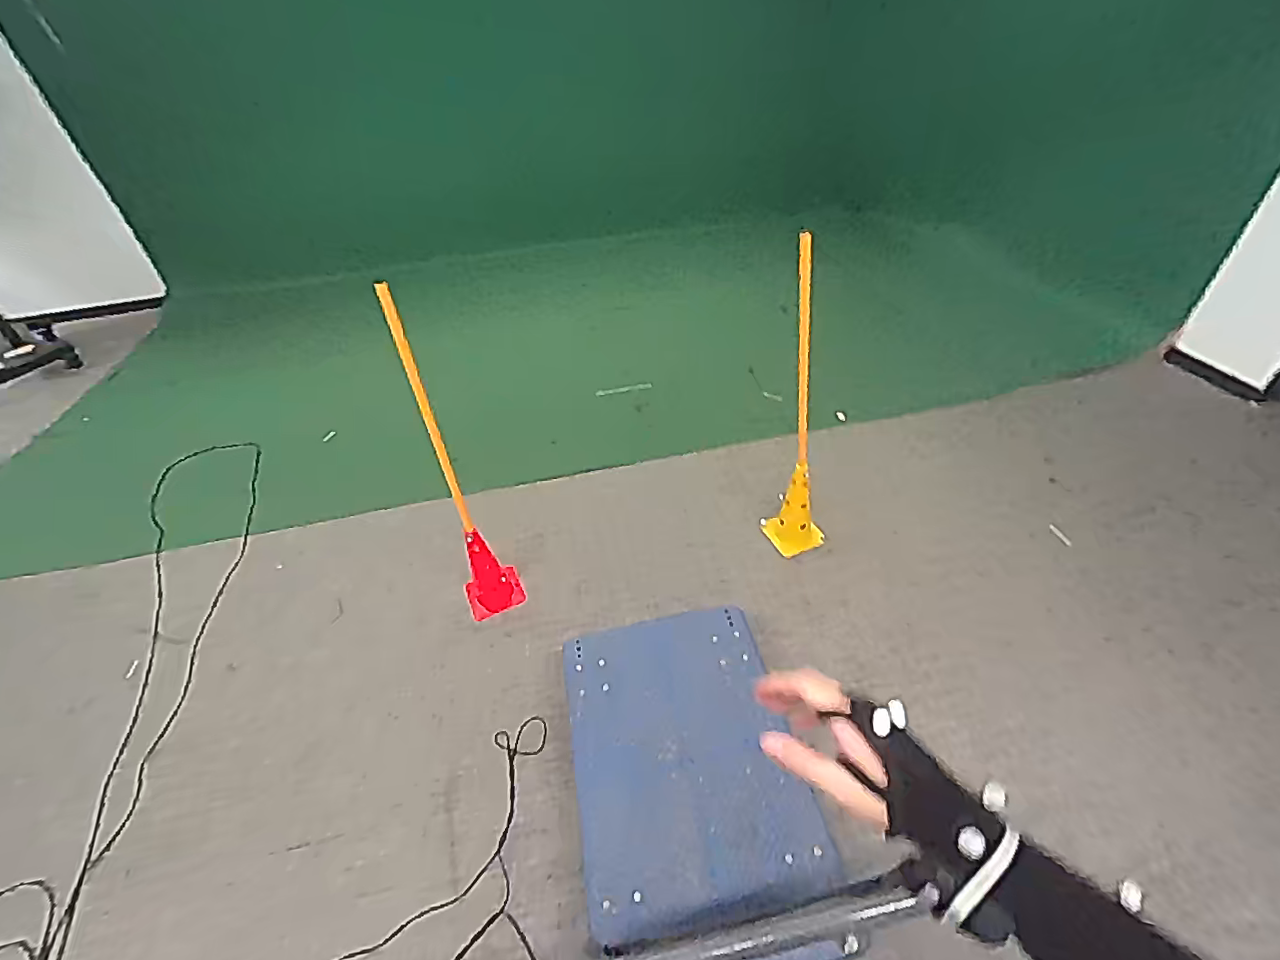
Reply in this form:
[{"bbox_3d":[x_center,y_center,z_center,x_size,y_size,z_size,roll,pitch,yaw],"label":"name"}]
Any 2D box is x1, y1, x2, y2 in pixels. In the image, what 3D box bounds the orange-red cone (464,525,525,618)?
[{"bbox_3d":[-0.562,0.296,1.933,0.199,0.360,0.198,-22,44,-15],"label":"orange-red cone"}]
